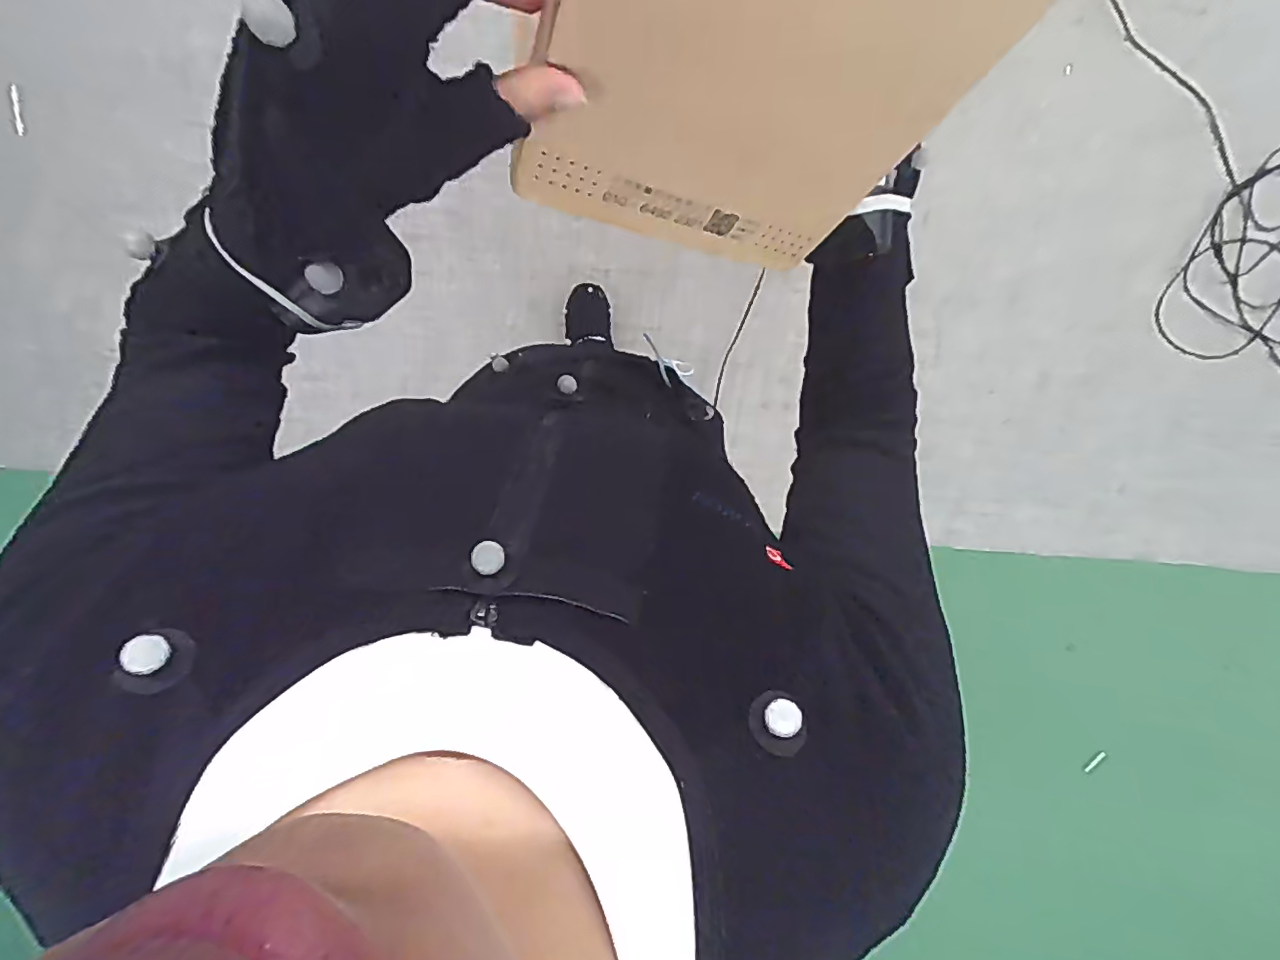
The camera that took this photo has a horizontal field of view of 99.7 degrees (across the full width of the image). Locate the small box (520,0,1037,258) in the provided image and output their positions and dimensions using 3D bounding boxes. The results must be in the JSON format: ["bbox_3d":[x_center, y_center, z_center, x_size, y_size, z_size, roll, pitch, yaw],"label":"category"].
[{"bbox_3d":[0.044,-0.244,0.253,0.168,0.176,0.179,6,69,-24],"label":"small box"}]
